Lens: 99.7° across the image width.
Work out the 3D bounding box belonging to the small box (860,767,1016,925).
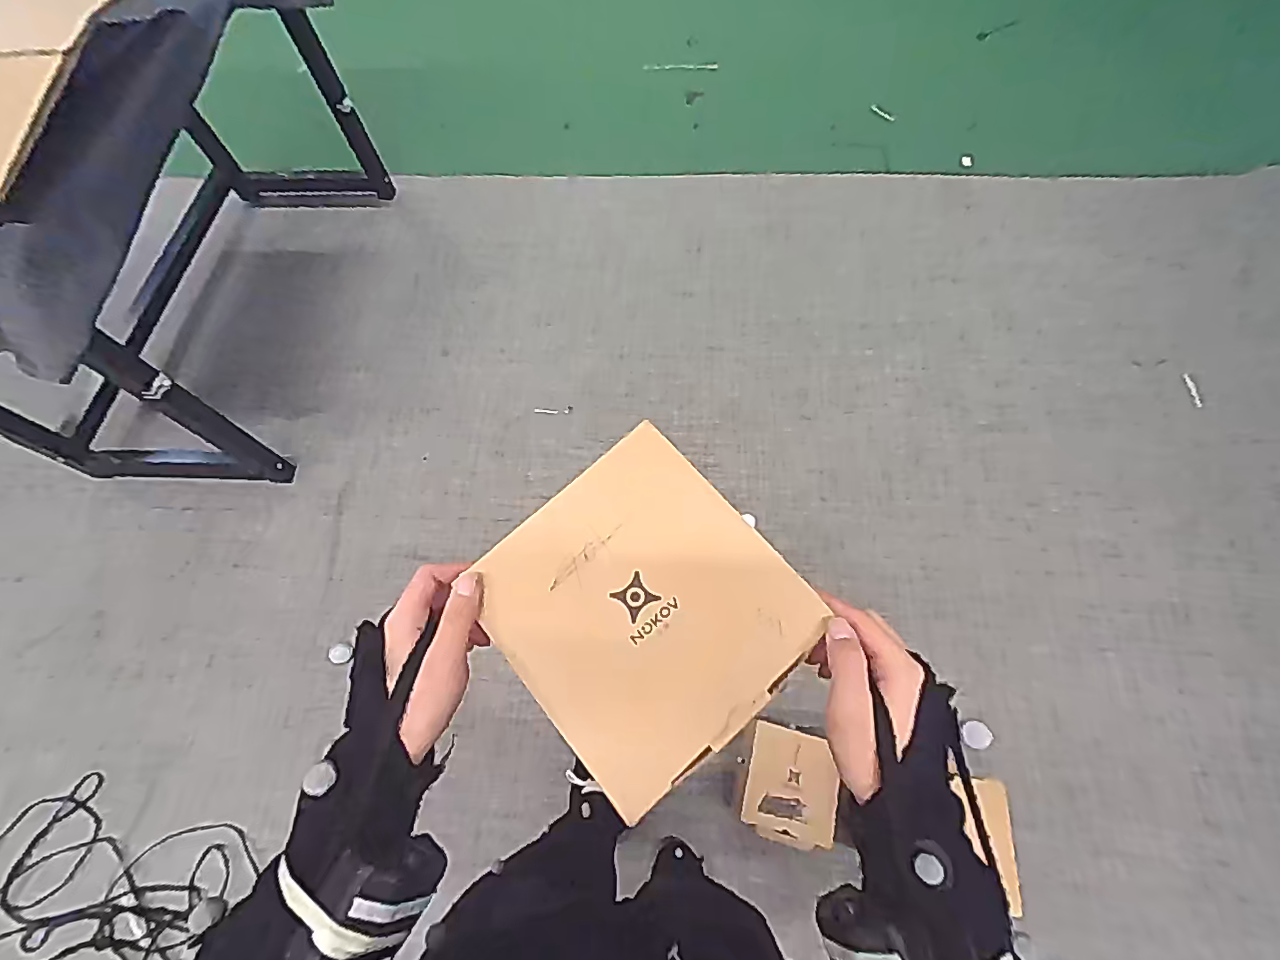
[{"bbox_3d":[0.469,0.580,0.881,0.168,0.176,0.179,5,65,5],"label":"small box"}]

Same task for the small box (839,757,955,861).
[{"bbox_3d":[0.489,0.637,1.034,0.168,0.176,0.179,6,64,5],"label":"small box"}]
